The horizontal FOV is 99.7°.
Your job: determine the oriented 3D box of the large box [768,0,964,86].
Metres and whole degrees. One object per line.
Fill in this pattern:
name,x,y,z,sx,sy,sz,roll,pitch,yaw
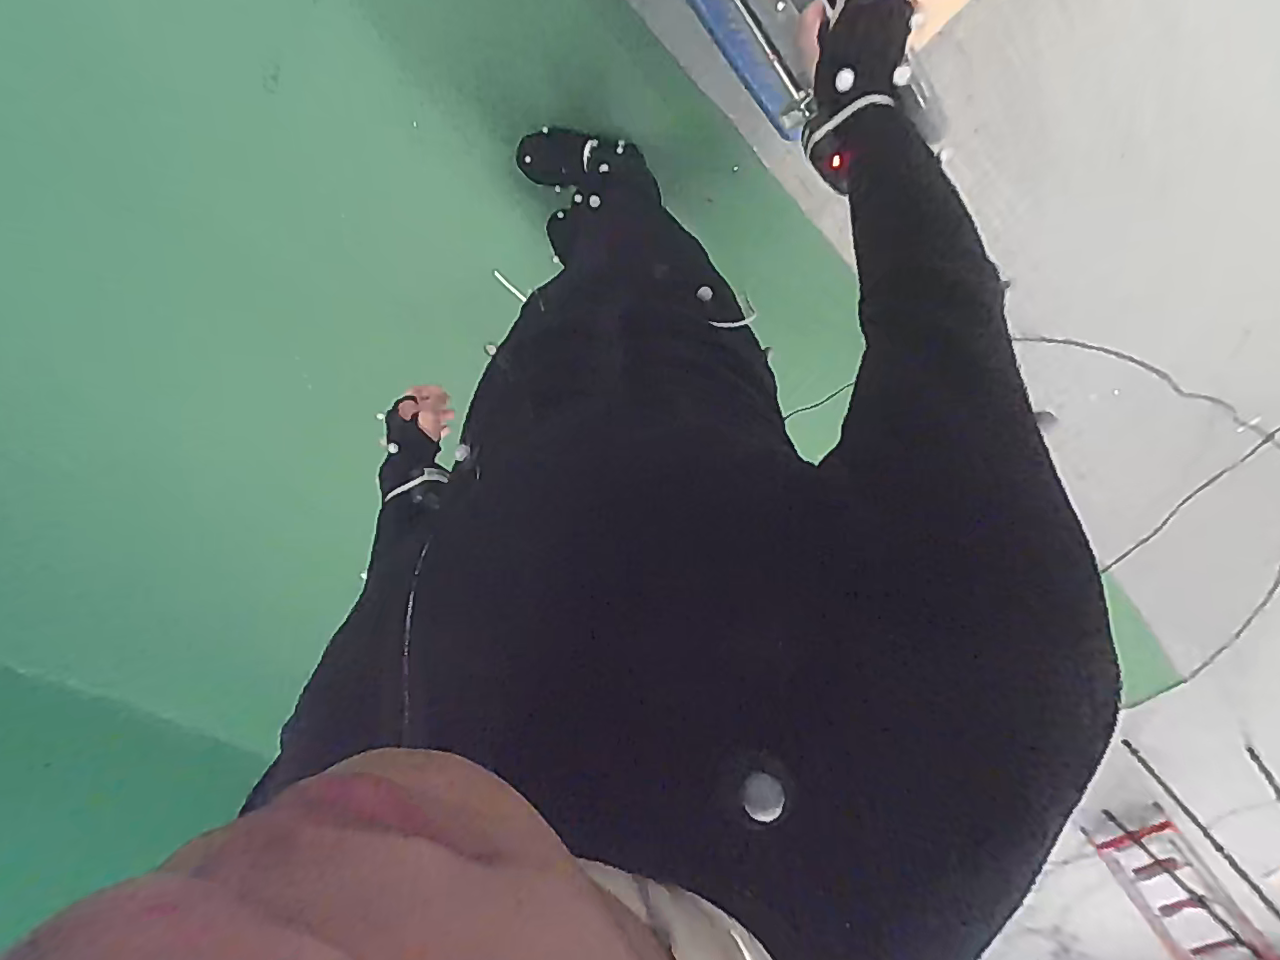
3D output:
large box,0.415,-0.926,0.843,0.408,0.320,0.320,-41,118,20
